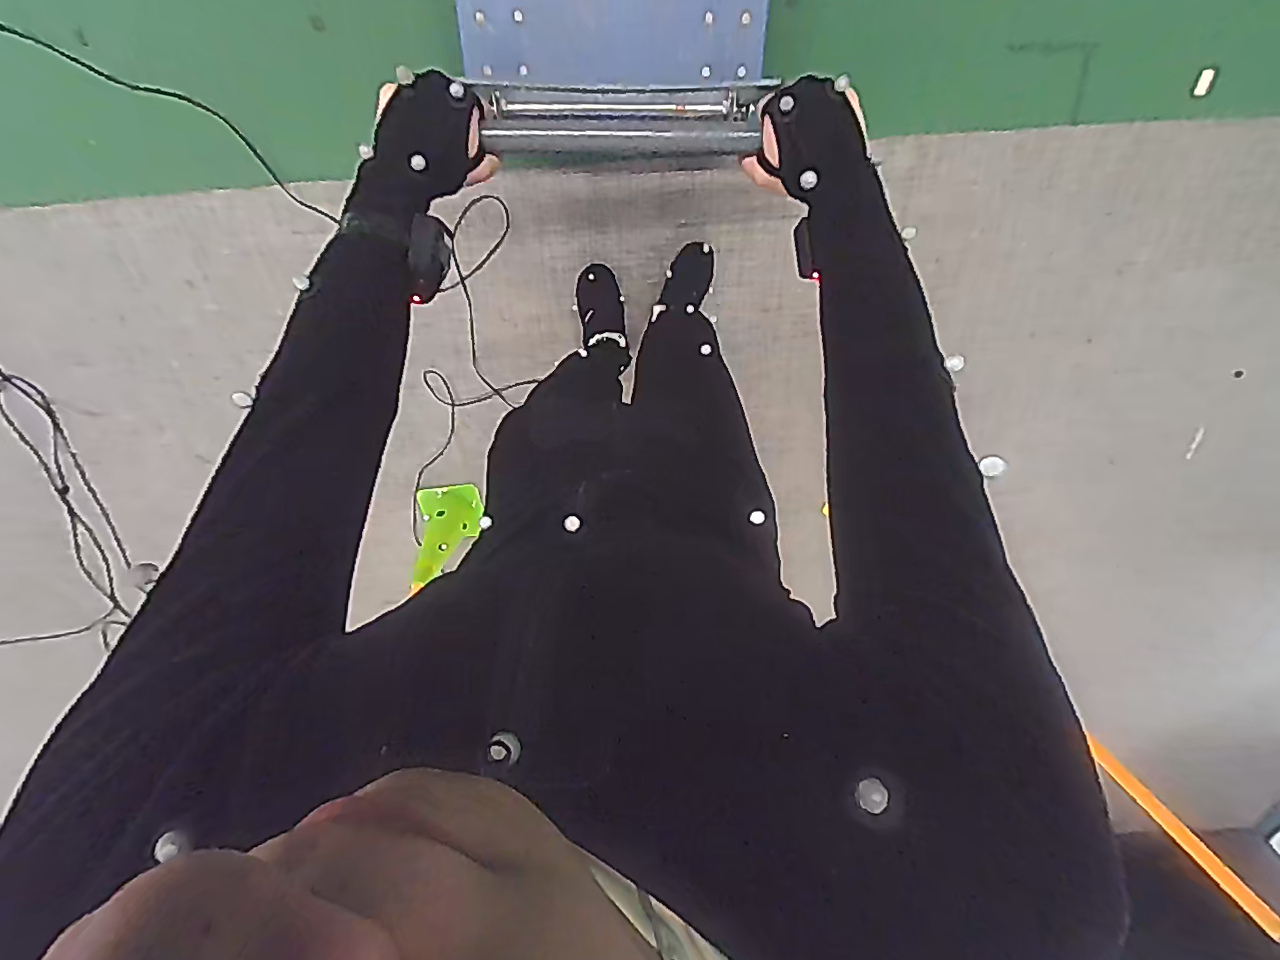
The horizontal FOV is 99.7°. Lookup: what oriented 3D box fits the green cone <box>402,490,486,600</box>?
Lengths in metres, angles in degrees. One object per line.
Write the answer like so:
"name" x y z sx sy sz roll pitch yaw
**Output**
"green cone" -0.612 0.211 1.595 0.202 0.368 0.200 -6 121 4
